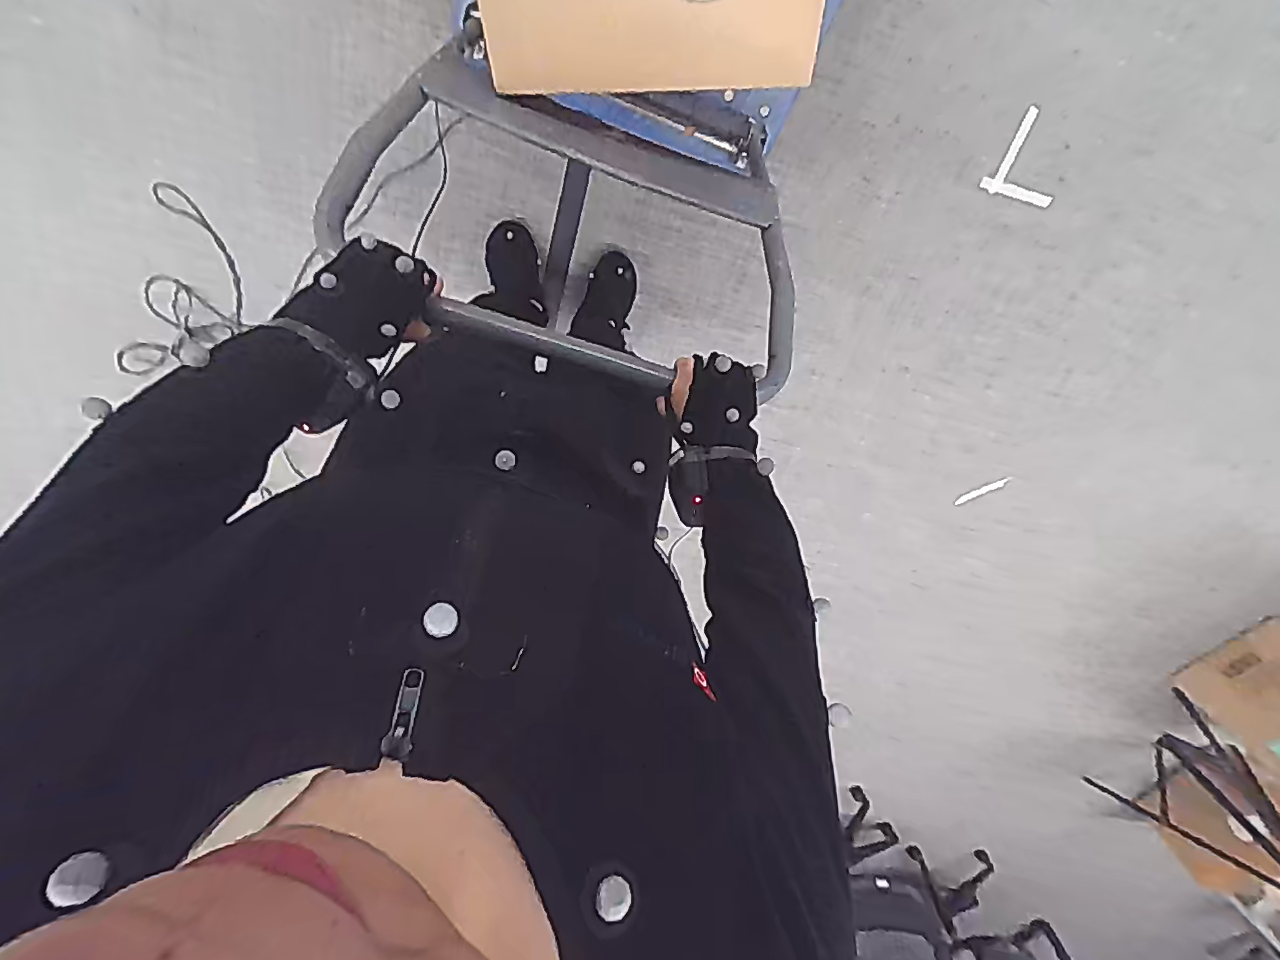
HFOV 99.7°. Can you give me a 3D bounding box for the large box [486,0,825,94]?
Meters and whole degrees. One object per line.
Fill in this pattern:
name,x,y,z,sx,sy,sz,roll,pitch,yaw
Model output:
large box,0.016,-0.716,0.678,0.408,0.320,0.320,0,139,2
